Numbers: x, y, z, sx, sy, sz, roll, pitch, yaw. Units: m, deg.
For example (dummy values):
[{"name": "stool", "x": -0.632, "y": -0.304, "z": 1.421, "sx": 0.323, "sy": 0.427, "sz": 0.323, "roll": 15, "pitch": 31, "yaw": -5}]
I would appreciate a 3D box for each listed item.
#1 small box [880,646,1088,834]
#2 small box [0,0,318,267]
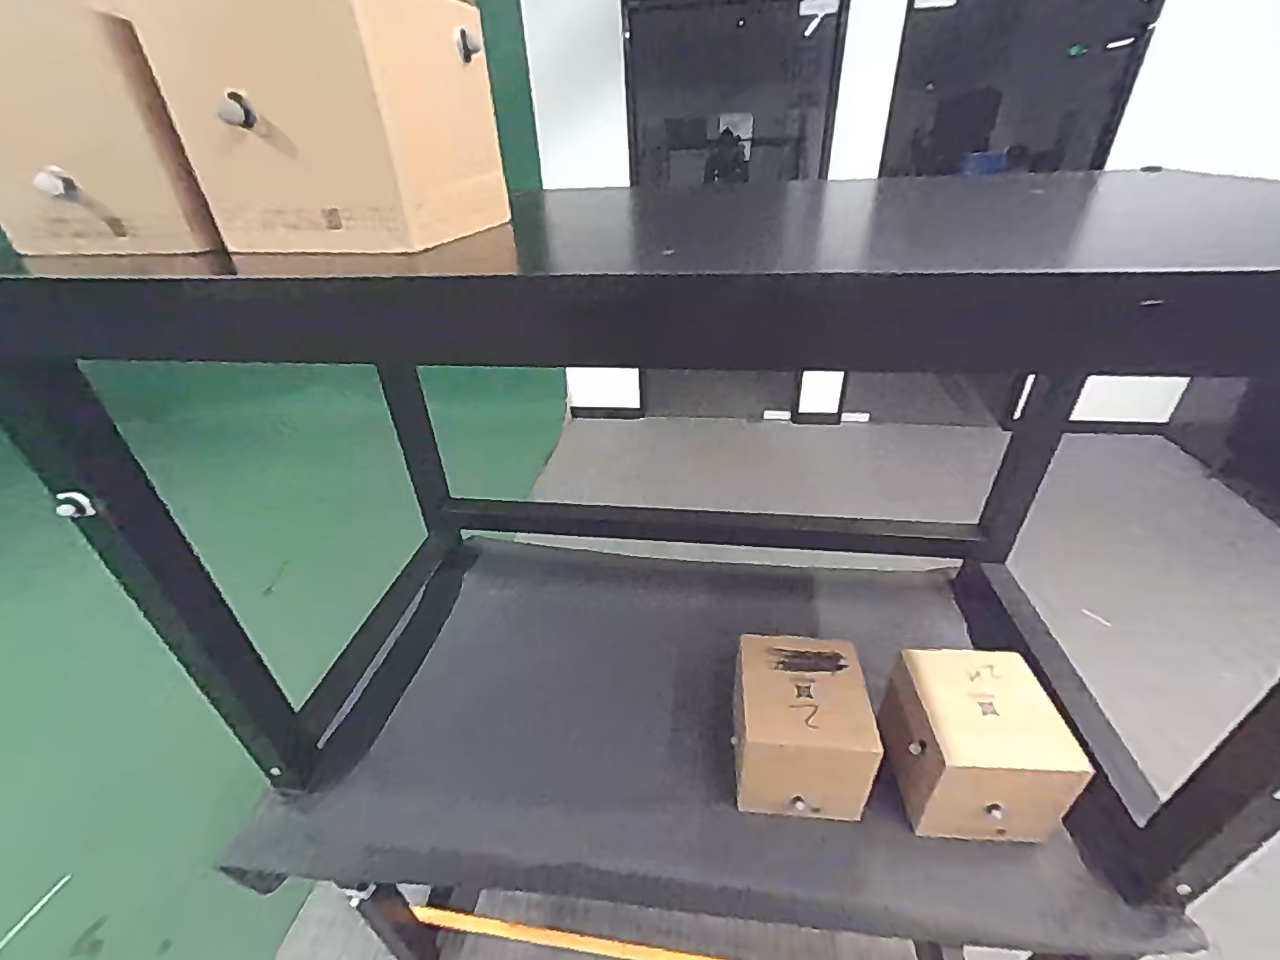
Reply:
[{"name": "small box", "x": 0.452, "y": 0.356, "z": 0.746, "sx": 0.168, "sy": 0.176, "sz": 0.179, "roll": 1, "pitch": 32, "yaw": 5}, {"name": "small box", "x": -0.413, "y": -0.290, "z": 0.463, "sx": 0.168, "sy": 0.176, "sz": 0.179, "roll": 2, "pitch": 34, "yaw": 6}]
